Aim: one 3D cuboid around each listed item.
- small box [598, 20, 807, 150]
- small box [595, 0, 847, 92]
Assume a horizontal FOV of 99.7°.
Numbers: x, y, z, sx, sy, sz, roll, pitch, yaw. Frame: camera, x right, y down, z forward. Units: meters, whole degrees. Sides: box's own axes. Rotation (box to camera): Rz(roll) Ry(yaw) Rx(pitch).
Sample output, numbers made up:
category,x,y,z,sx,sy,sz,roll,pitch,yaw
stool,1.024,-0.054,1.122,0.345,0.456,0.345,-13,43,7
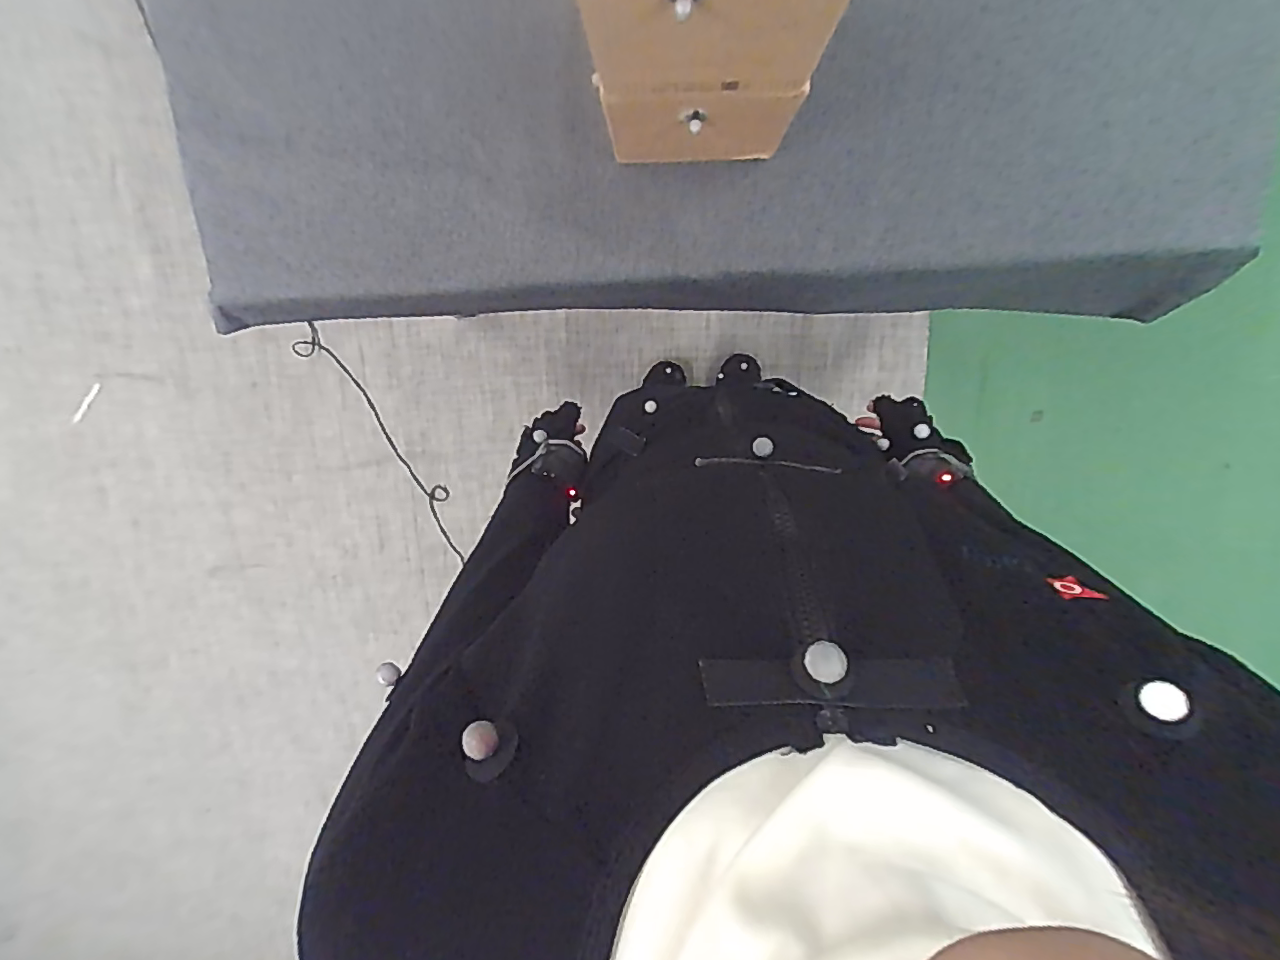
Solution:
category,x,y,z,sx,sy,sz,roll,pitch,yaw
small box,0.056,-0.431,0.512,0.179,0.176,0.168,0,105,3
small box,0.050,-0.394,0.356,0.168,0.176,0.179,-1,105,3
